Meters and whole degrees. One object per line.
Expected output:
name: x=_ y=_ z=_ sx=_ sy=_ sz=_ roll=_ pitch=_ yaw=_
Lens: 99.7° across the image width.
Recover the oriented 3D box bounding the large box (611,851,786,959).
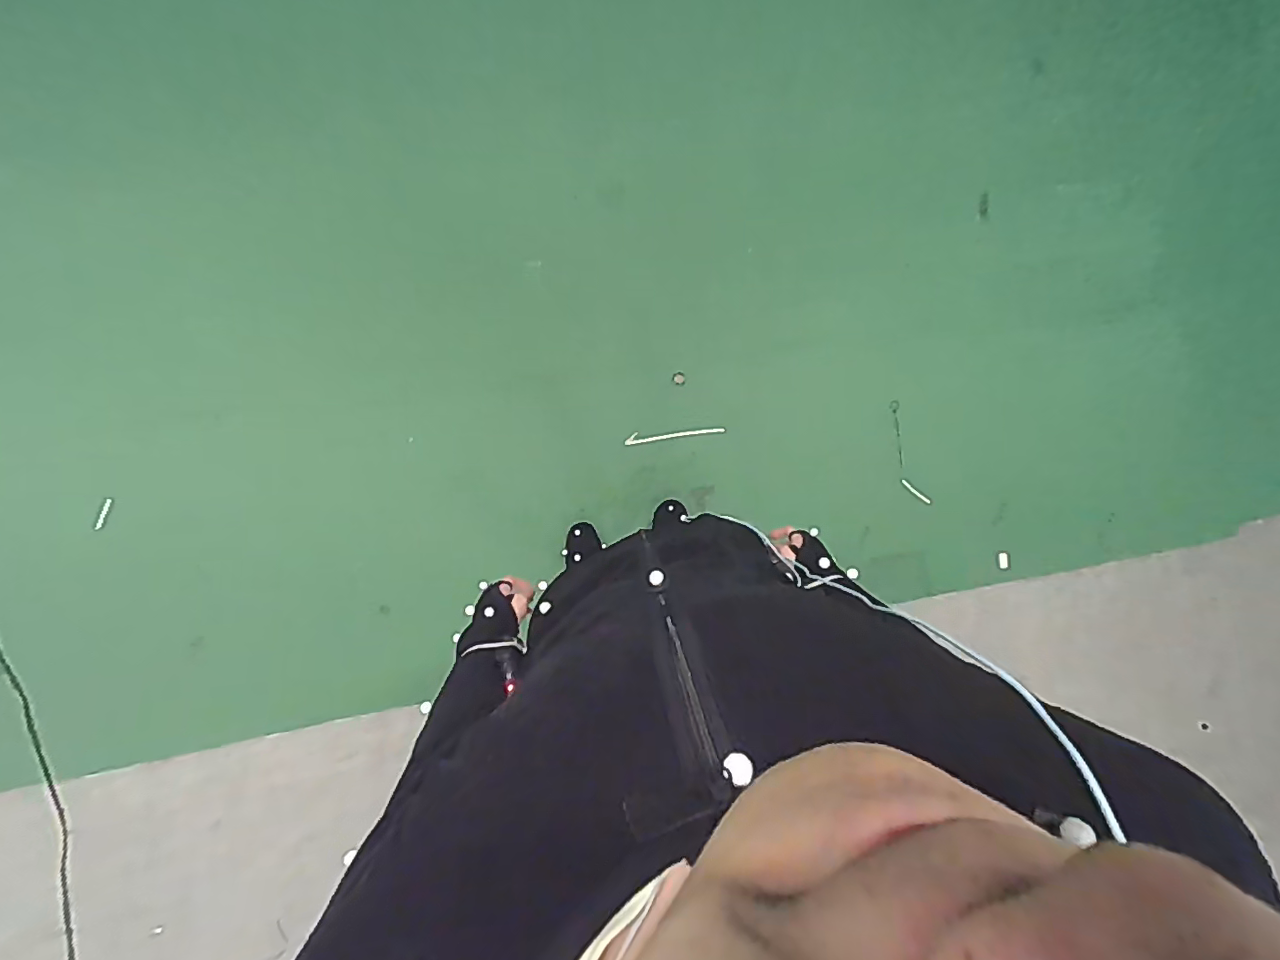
large box: x=0.157 y=1.276 z=1.433 sx=0.408 sy=0.320 sz=0.320 roll=-11 pitch=87 yaw=-8
